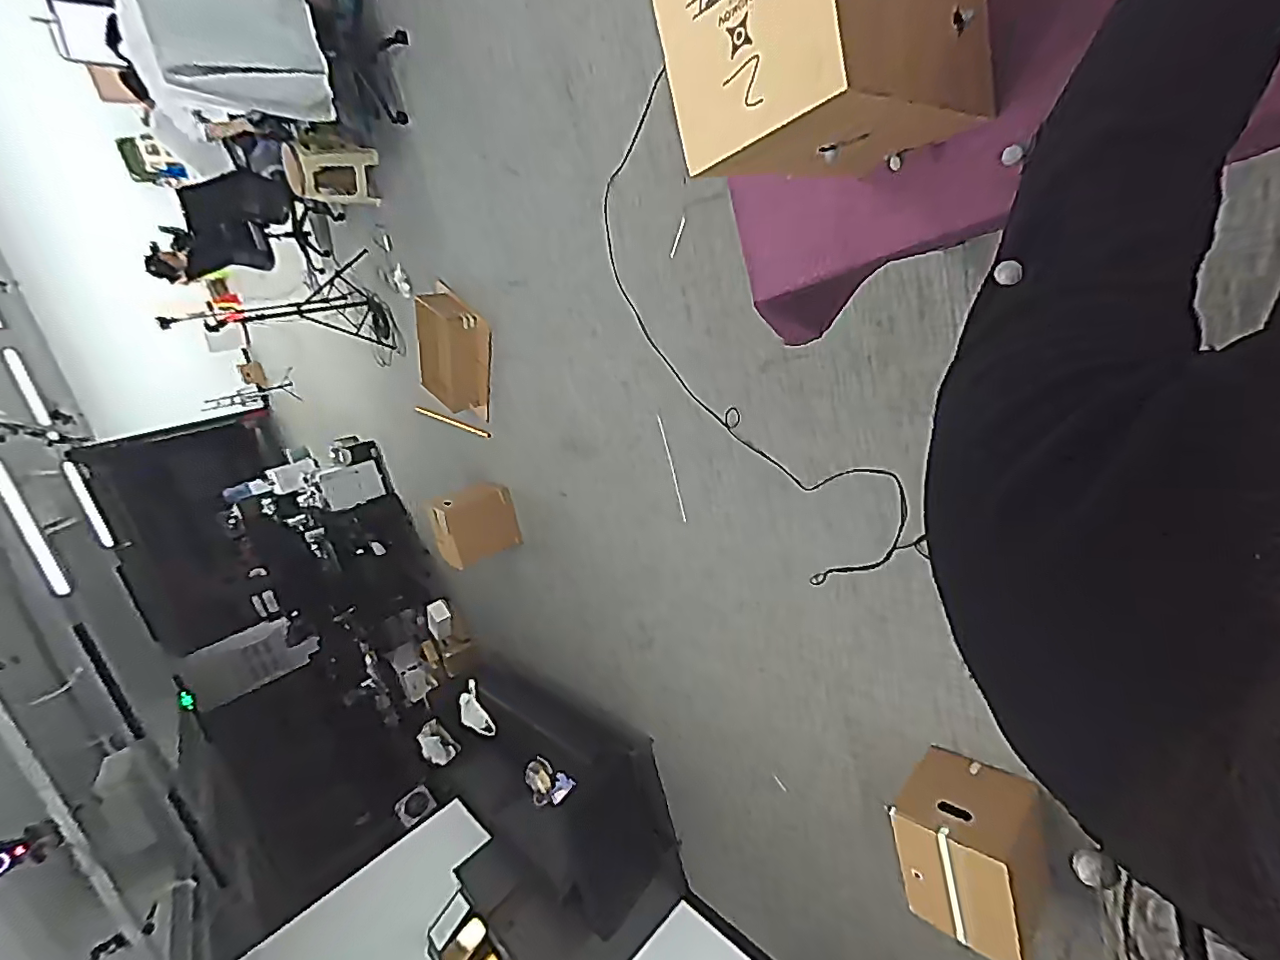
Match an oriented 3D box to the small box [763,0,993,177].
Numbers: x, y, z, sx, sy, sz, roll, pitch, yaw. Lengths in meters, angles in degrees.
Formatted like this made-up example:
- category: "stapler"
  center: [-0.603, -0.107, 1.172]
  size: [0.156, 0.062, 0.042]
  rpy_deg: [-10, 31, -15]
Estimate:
- category: "small box"
  center: [0.262, -0.451, 0.590]
  size: [0.168, 0.176, 0.179]
  rpy_deg: [2, 112, 50]
